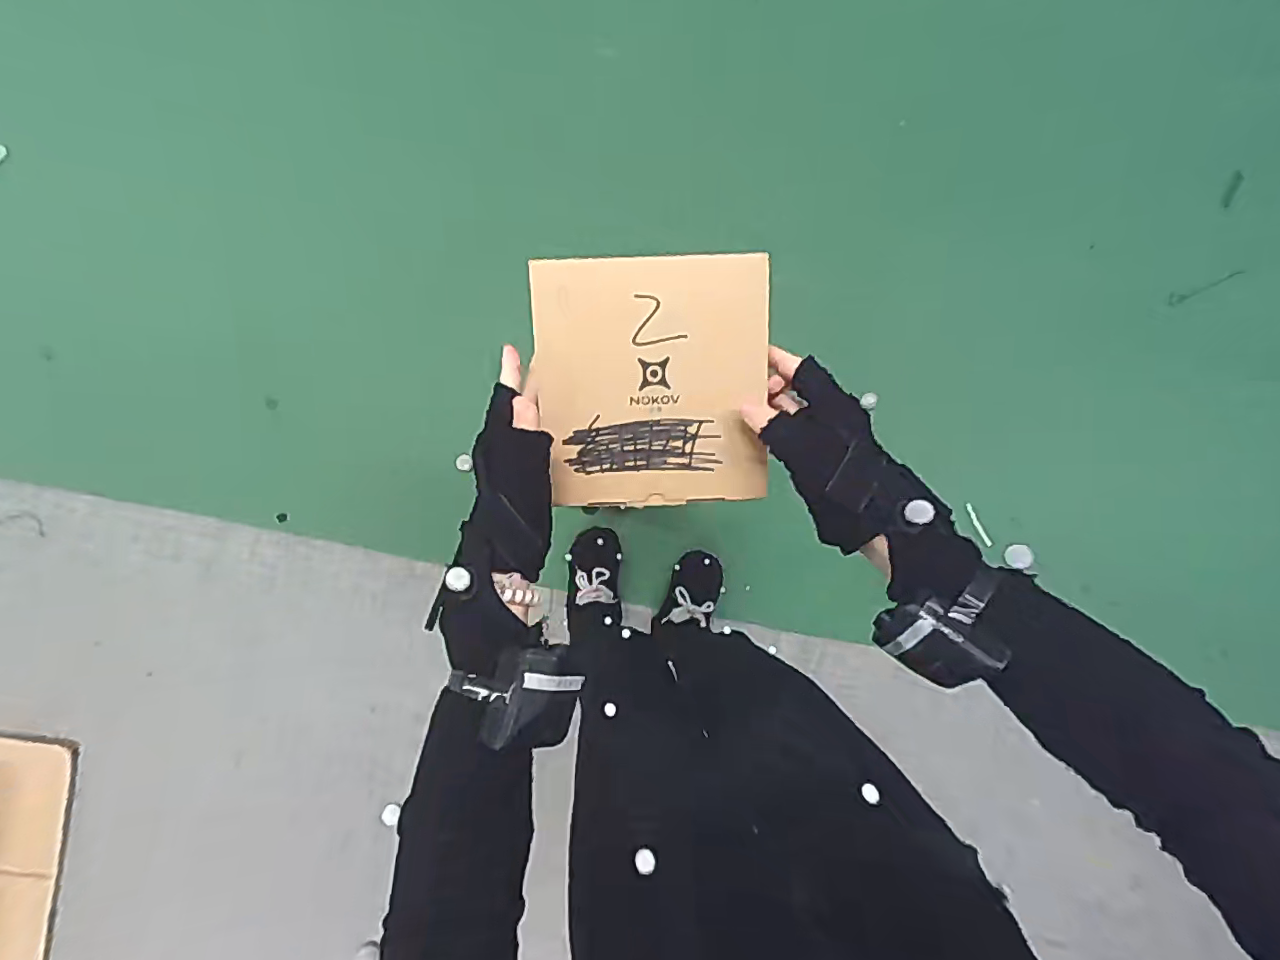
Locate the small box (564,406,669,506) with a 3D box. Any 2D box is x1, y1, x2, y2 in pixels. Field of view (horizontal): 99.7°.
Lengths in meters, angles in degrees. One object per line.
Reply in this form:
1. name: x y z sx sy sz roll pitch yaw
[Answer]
1. small box: -0.052 -0.047 1.186 0.179 0.176 0.168 19 89 -3
